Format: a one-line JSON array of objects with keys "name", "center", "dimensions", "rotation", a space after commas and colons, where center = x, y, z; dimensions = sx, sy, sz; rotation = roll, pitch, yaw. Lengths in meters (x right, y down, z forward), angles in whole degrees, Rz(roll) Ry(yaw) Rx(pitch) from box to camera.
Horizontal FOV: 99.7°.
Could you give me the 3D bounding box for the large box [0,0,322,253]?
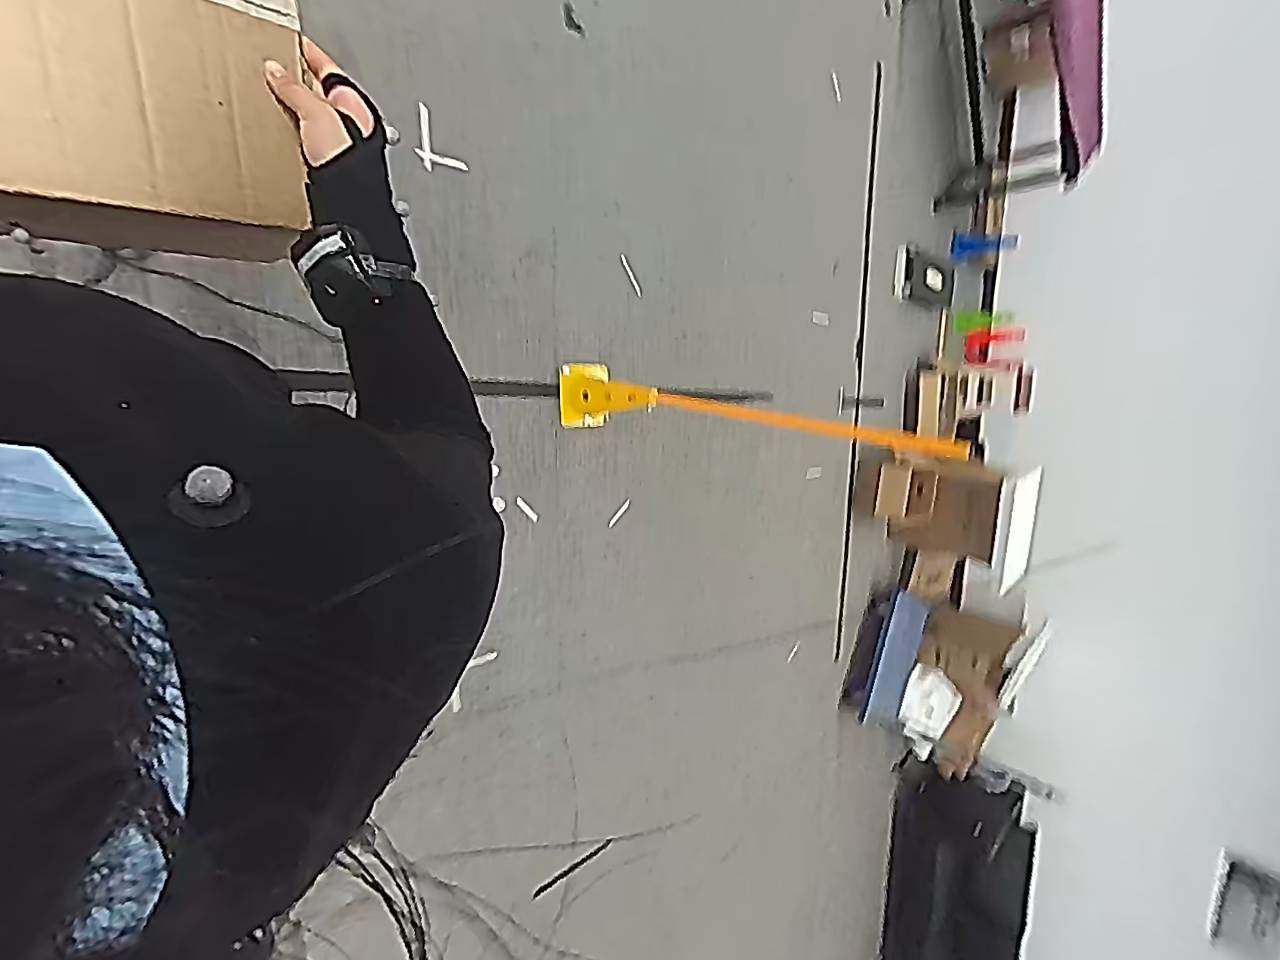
[{"name": "large box", "center": [-0.522, -0.377, 0.433], "dimensions": [0.408, 0.320, 0.320], "rotation": [-8, 107, -38]}]
